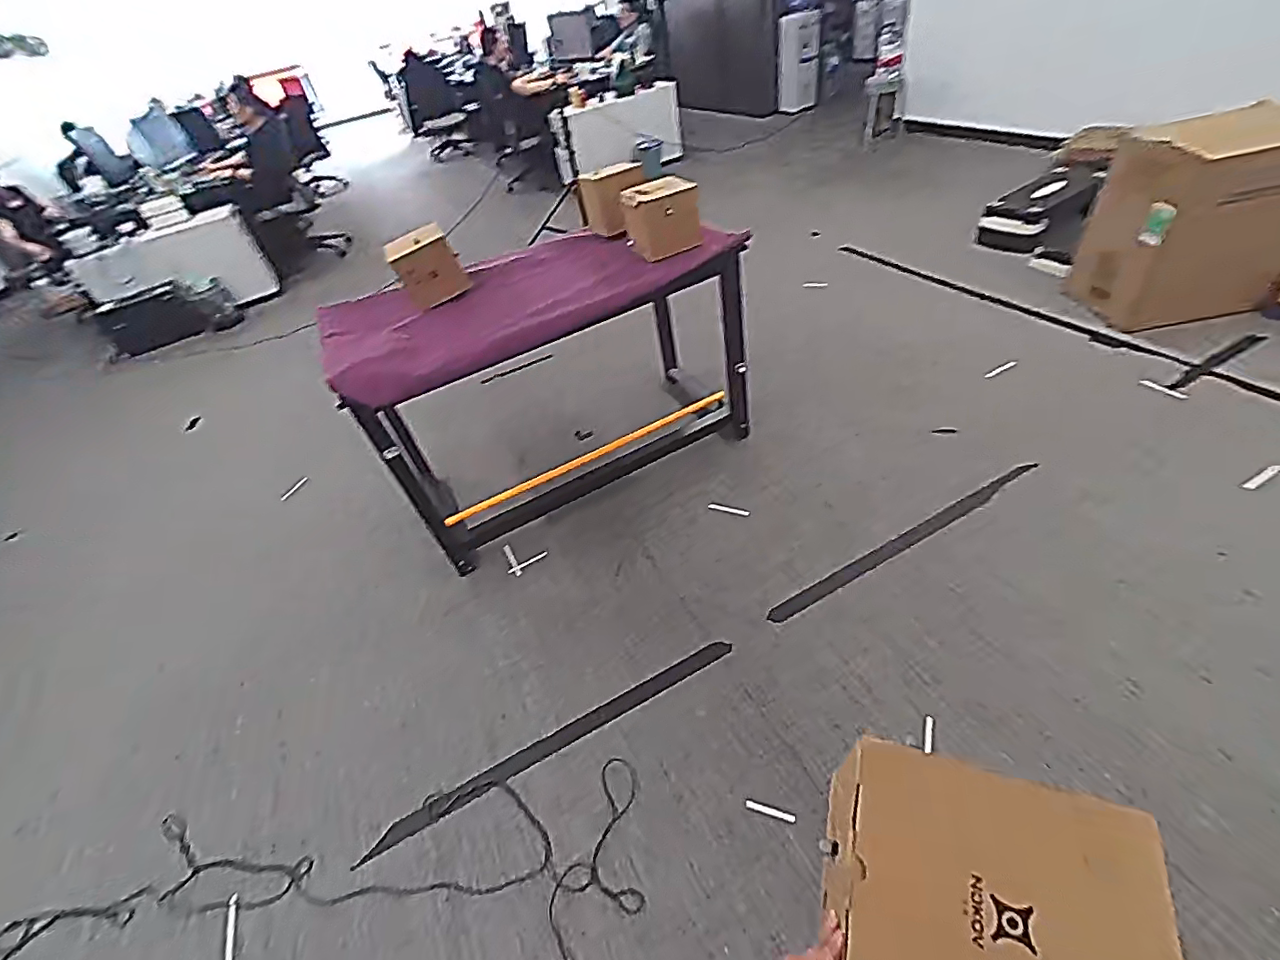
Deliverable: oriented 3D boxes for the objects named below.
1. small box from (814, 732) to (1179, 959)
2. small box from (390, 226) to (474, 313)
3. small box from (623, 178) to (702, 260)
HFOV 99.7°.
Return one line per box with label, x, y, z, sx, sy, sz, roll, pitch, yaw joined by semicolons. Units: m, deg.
small box;0.228;0.302;0.384;0.179;0.176;0.168;7;56;18
small box;-0.634;-0.644;1.640;0.179;0.168;0.176;-29;44;-6
small box;0.071;-0.782;1.626;0.179;0.176;0.168;-24;43;-12
